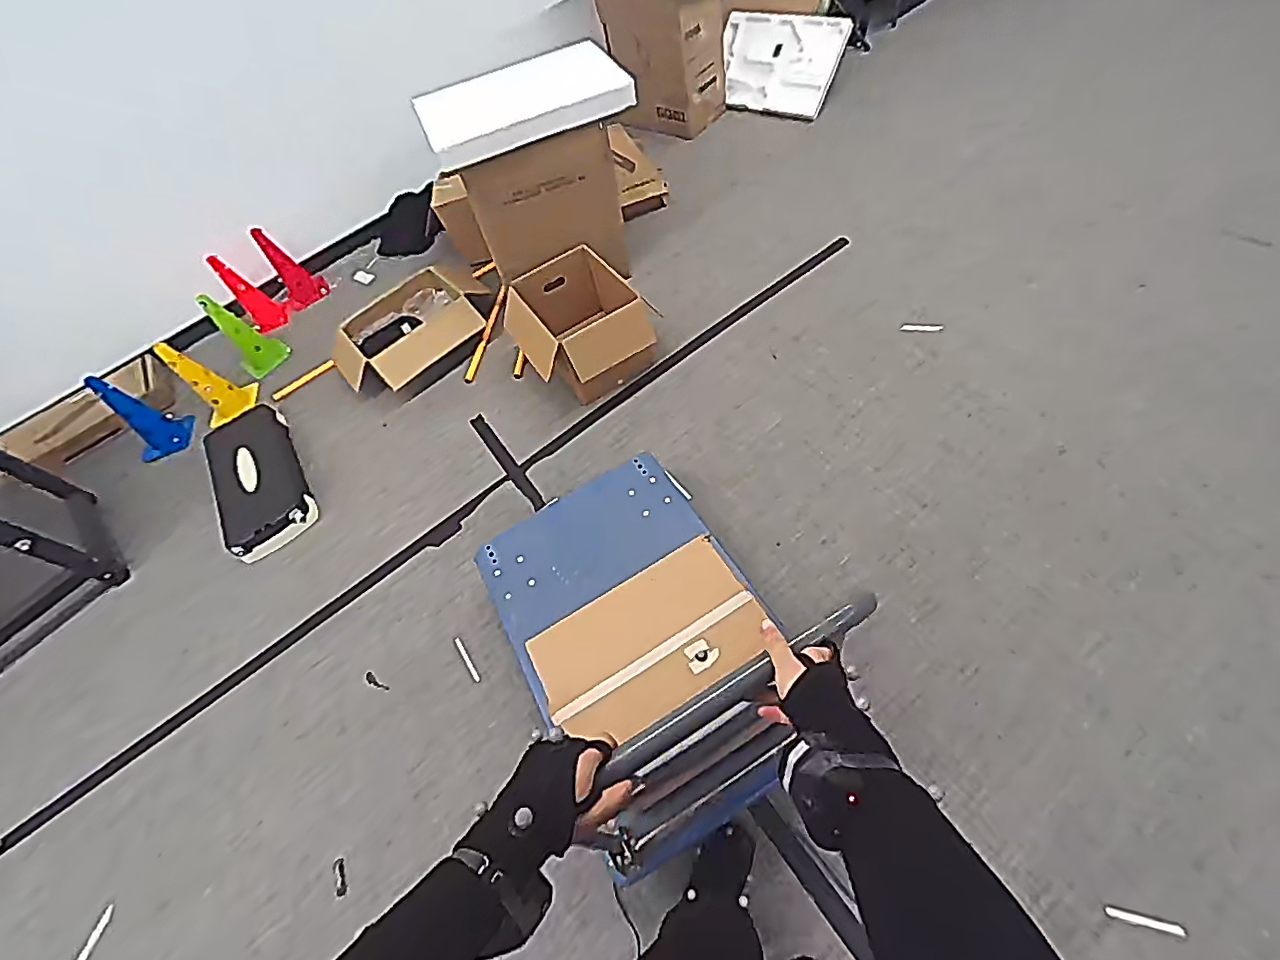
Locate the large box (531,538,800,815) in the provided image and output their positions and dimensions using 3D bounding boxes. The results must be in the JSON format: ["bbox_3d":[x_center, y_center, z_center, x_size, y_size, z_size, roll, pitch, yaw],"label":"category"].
[{"bbox_3d":[0.058,0.399,1.089,0.408,0.320,0.320,-30,56,-9],"label":"large box"}]
